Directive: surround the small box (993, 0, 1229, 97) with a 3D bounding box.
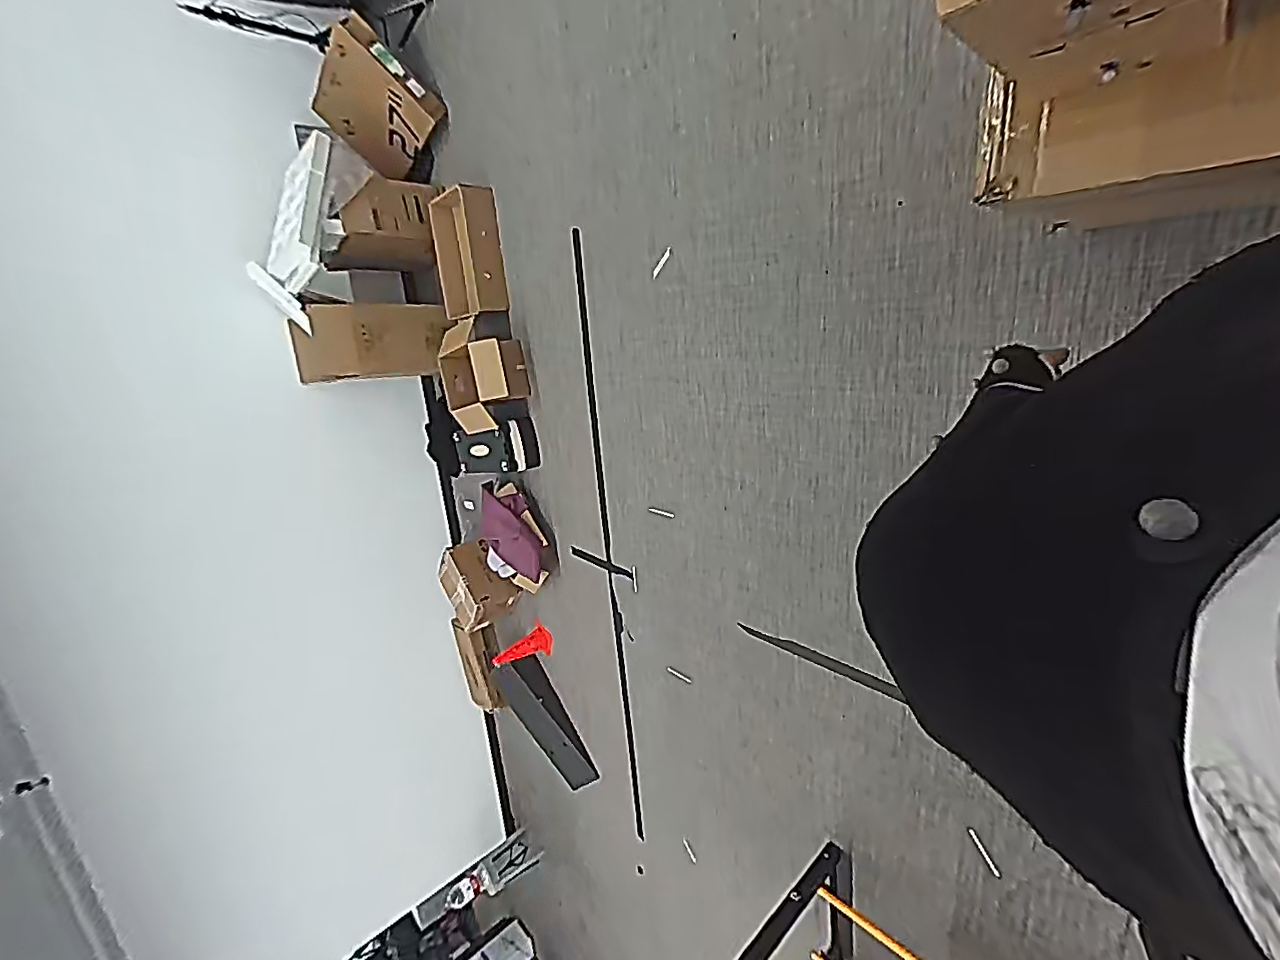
[{"bbox_3d":[0.479,-0.526,0.541,0.168,0.176,0.179,11,112,46],"label":"small box"}]

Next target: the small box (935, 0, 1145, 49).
[{"bbox_3d":[0.358,-0.489,0.436,0.168,0.176,0.179,9,111,47],"label":"small box"}]
